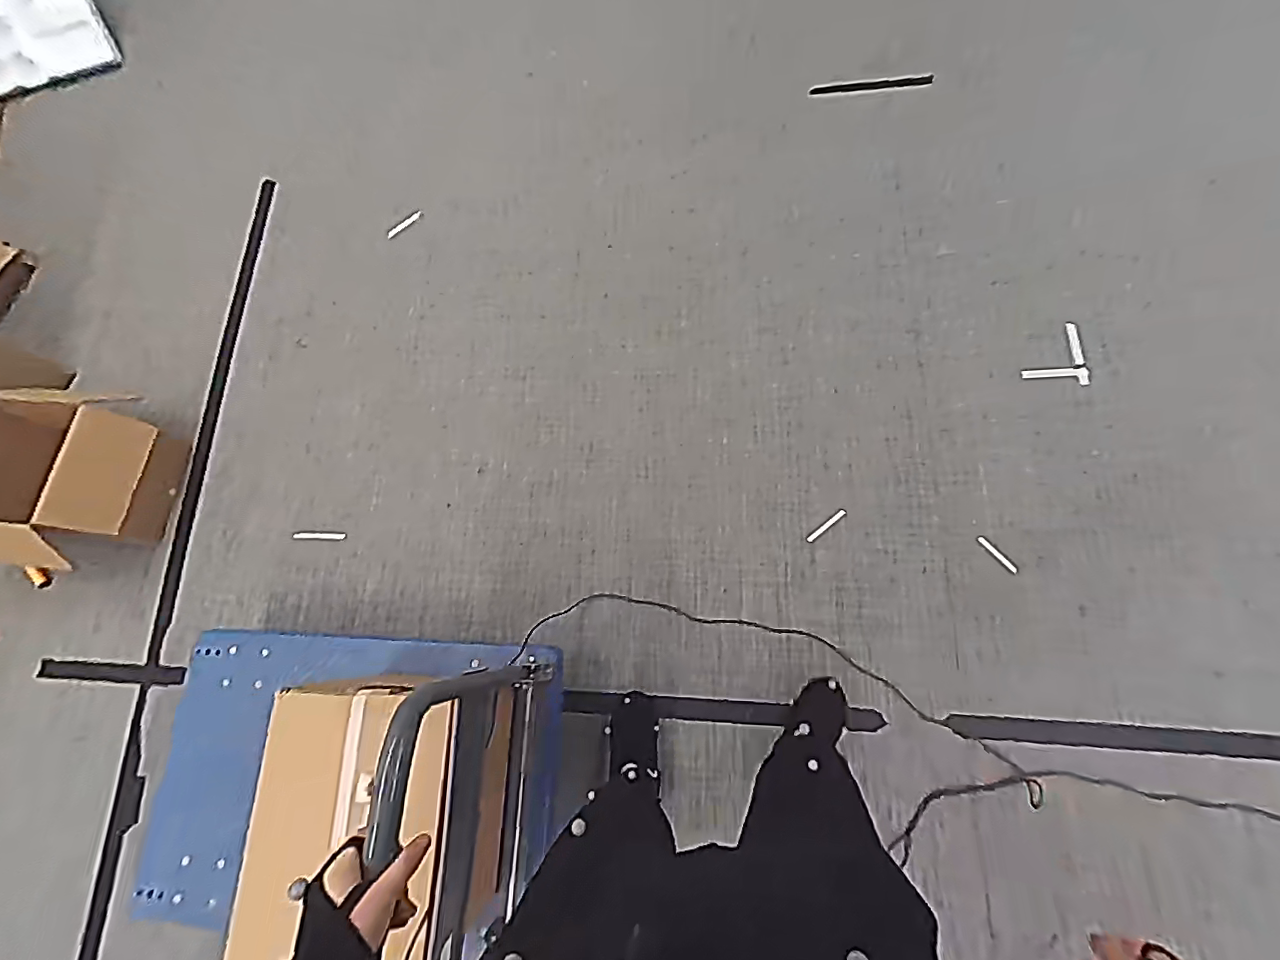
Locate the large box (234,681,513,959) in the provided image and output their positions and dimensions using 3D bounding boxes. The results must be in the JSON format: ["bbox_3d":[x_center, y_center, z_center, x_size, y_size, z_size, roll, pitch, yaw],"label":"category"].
[{"bbox_3d":[-0.441,0.595,0.989,0.320,0.320,0.408,0,73,6],"label":"large box"}]
